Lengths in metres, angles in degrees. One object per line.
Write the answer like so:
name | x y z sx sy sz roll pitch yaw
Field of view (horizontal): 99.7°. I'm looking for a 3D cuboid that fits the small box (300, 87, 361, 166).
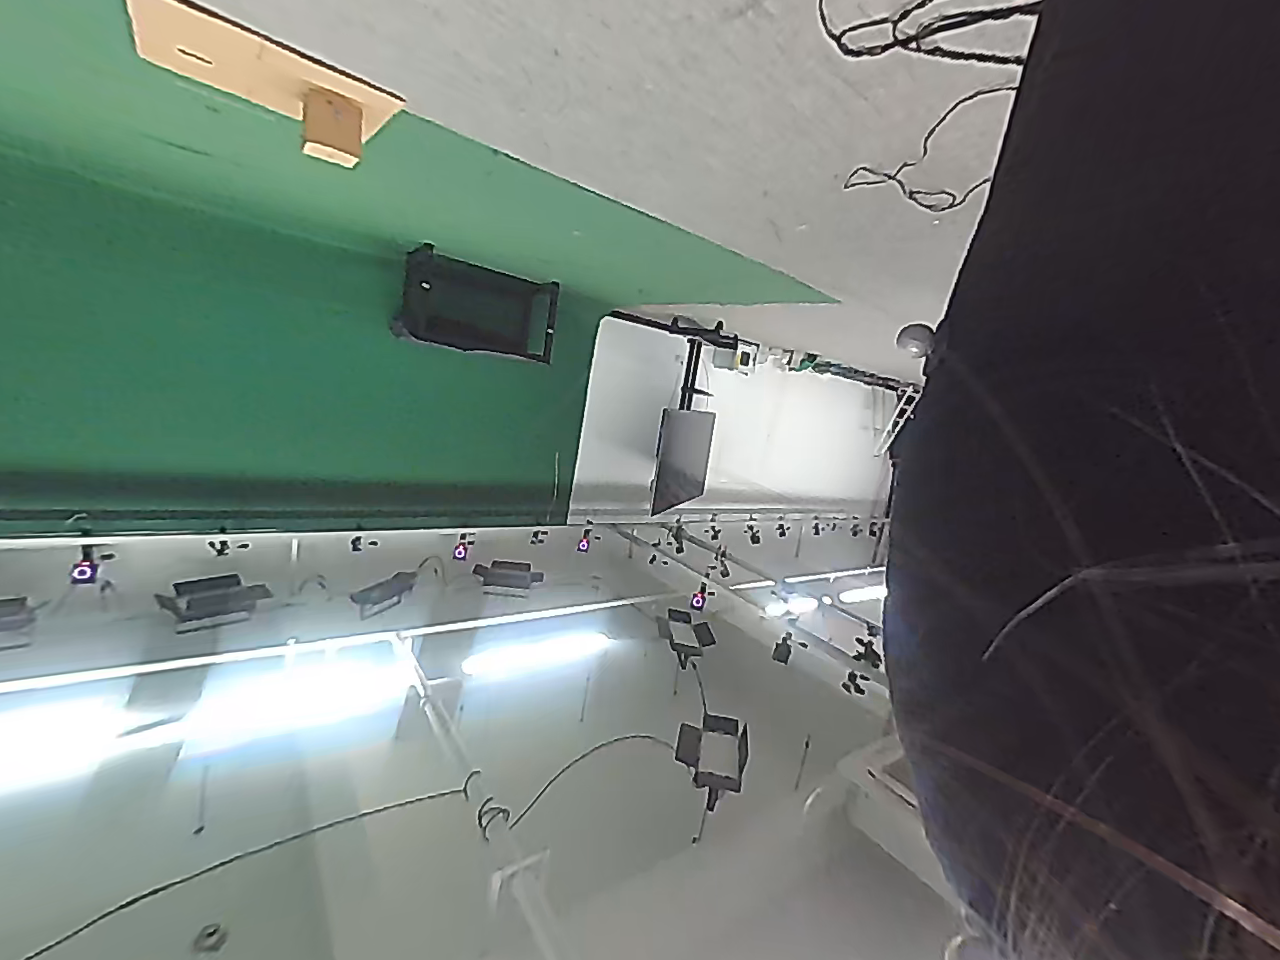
small box | -1.112 -1.266 1.944 0.168 0.176 0.179 0 -166 -39
